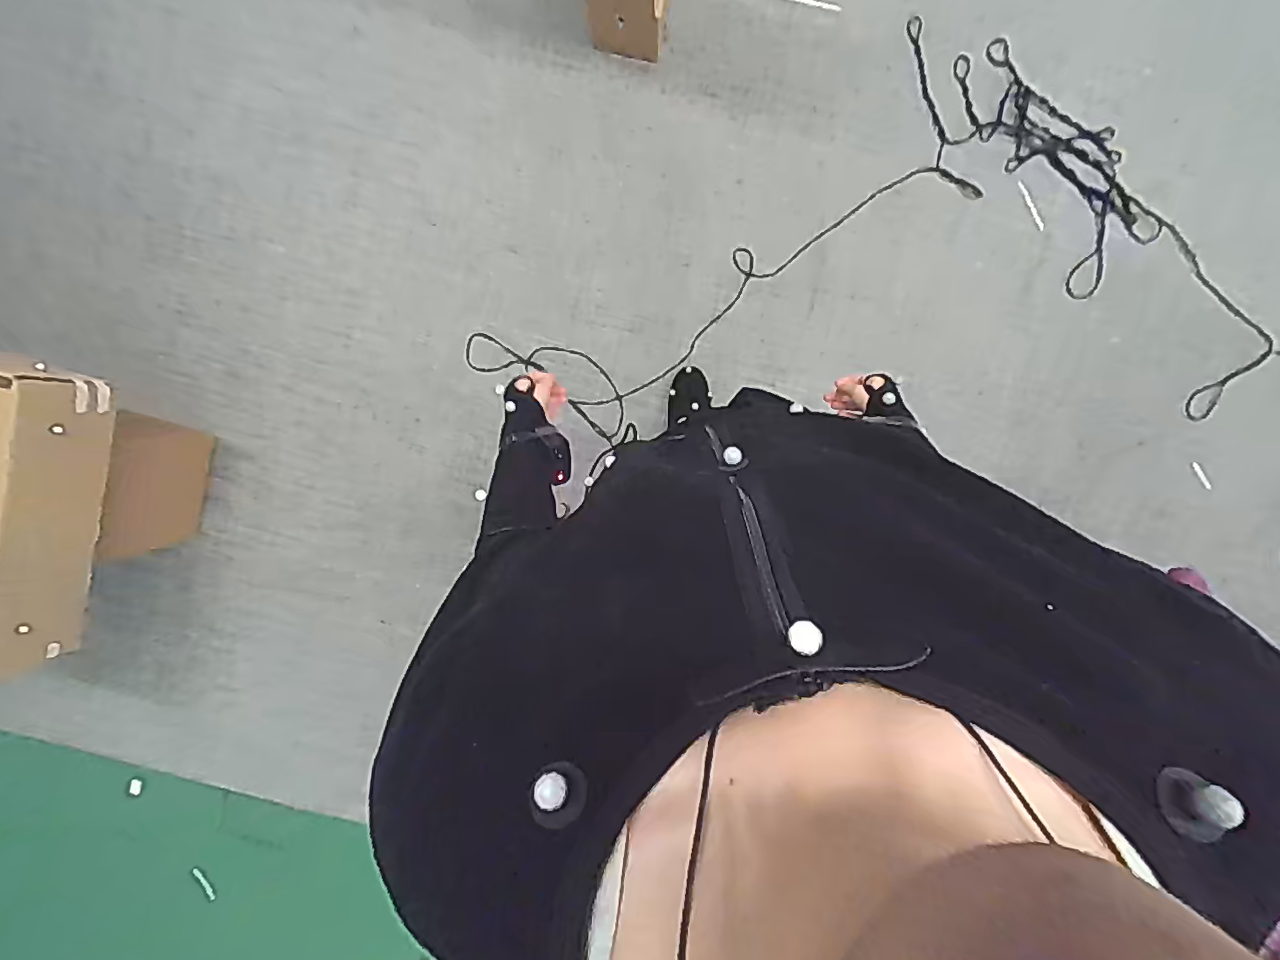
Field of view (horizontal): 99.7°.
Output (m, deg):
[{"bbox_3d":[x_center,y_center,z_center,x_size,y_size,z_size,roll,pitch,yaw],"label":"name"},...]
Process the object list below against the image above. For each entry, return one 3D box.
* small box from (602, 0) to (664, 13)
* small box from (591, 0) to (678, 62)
[{"bbox_3d":[-0.023,-1.121,1.115,0.179,0.176,0.168,15,99,0],"label":"small box"},{"bbox_3d":[-0.009,-1.139,1.278,0.179,0.176,0.168,14,98,-1],"label":"small box"}]
